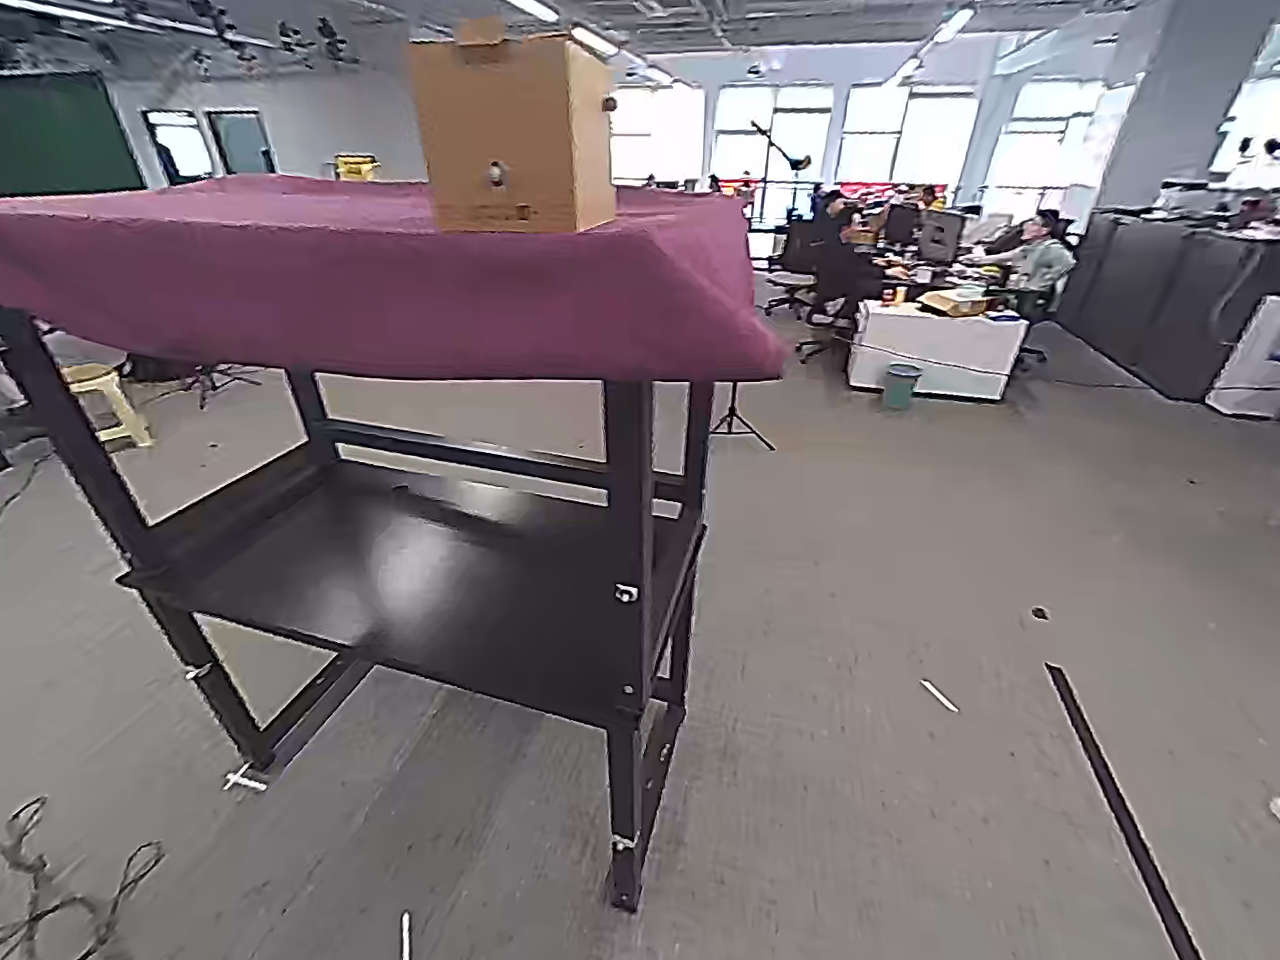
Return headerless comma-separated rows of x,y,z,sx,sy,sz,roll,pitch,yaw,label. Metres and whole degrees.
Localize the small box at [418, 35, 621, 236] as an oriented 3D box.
-0.120,-0.380,0.615,0.168,0.176,0.179,5,30,10,small box
